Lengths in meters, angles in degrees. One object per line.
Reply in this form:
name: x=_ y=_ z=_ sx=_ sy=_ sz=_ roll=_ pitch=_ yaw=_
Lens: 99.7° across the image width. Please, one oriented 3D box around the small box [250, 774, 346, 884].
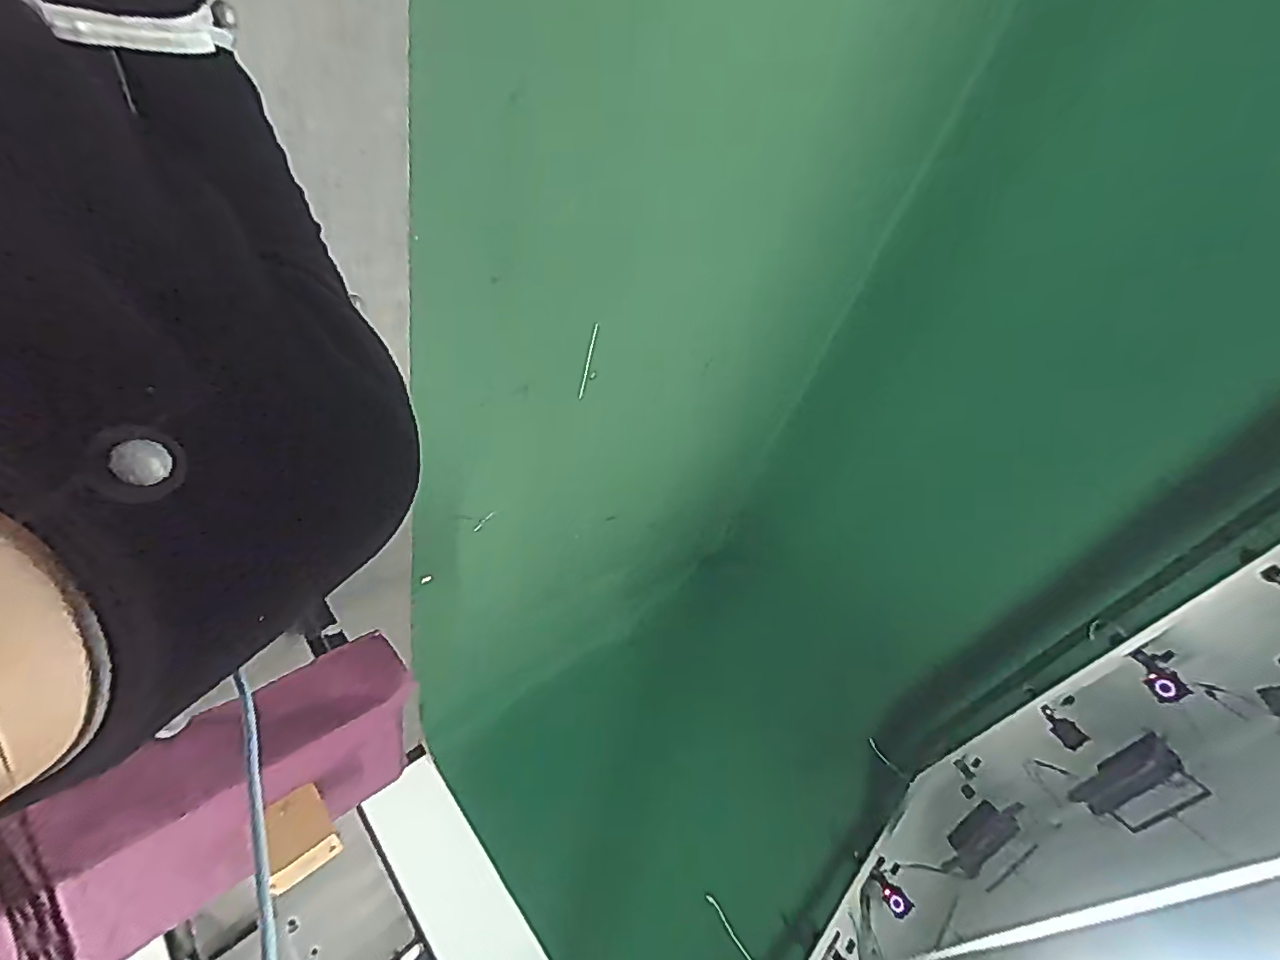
small box: x=-0.954 y=0.968 z=1.506 sx=0.179 sy=0.176 sz=0.168 roll=-25 pitch=147 yaw=-36
